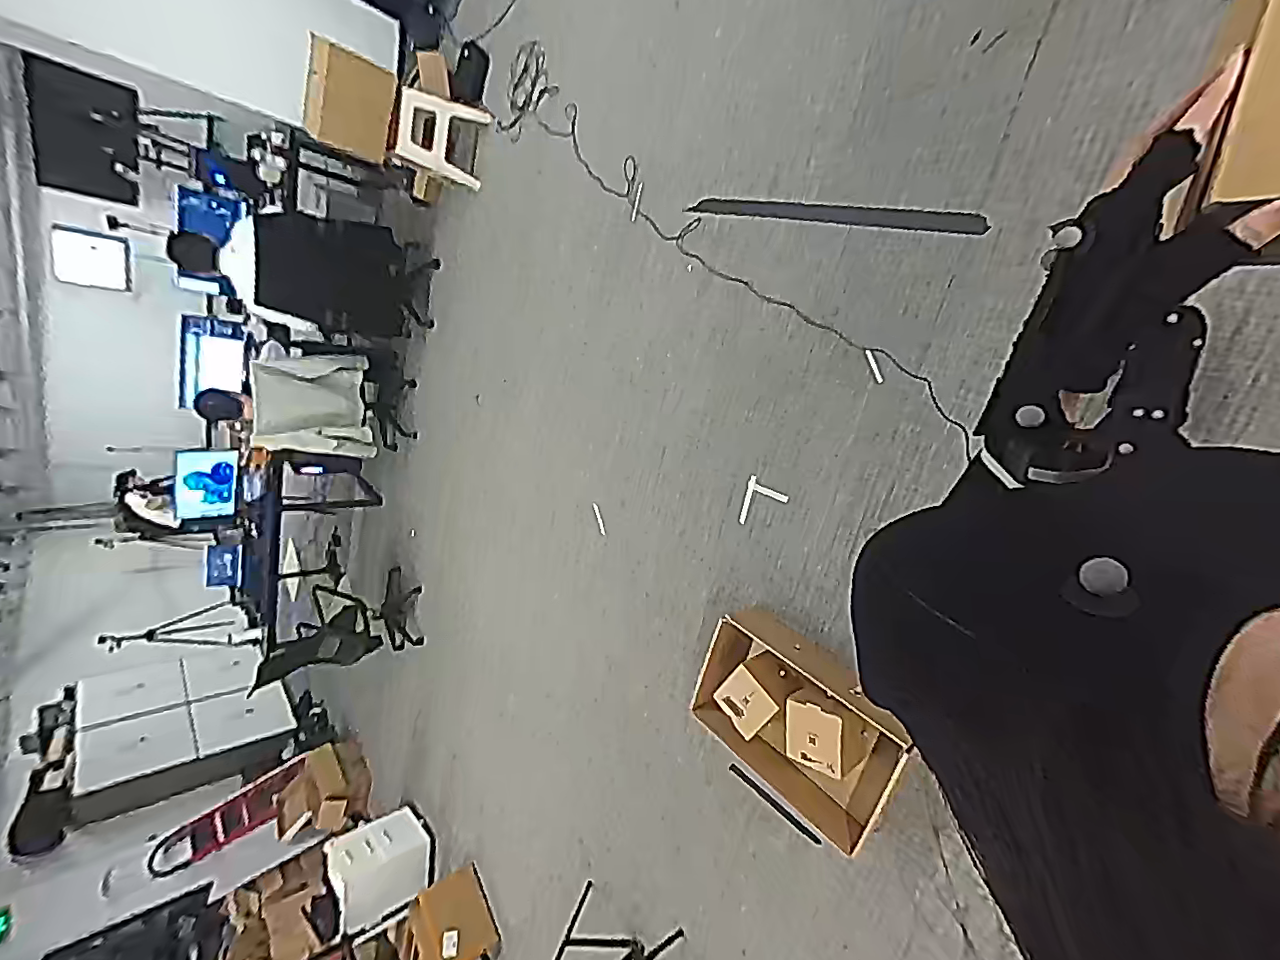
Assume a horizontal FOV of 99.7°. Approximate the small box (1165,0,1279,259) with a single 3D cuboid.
[{"bbox_3d":[0.405,-0.215,0.263,0.179,0.176,0.168,12,102,36],"label":"small box"}]
